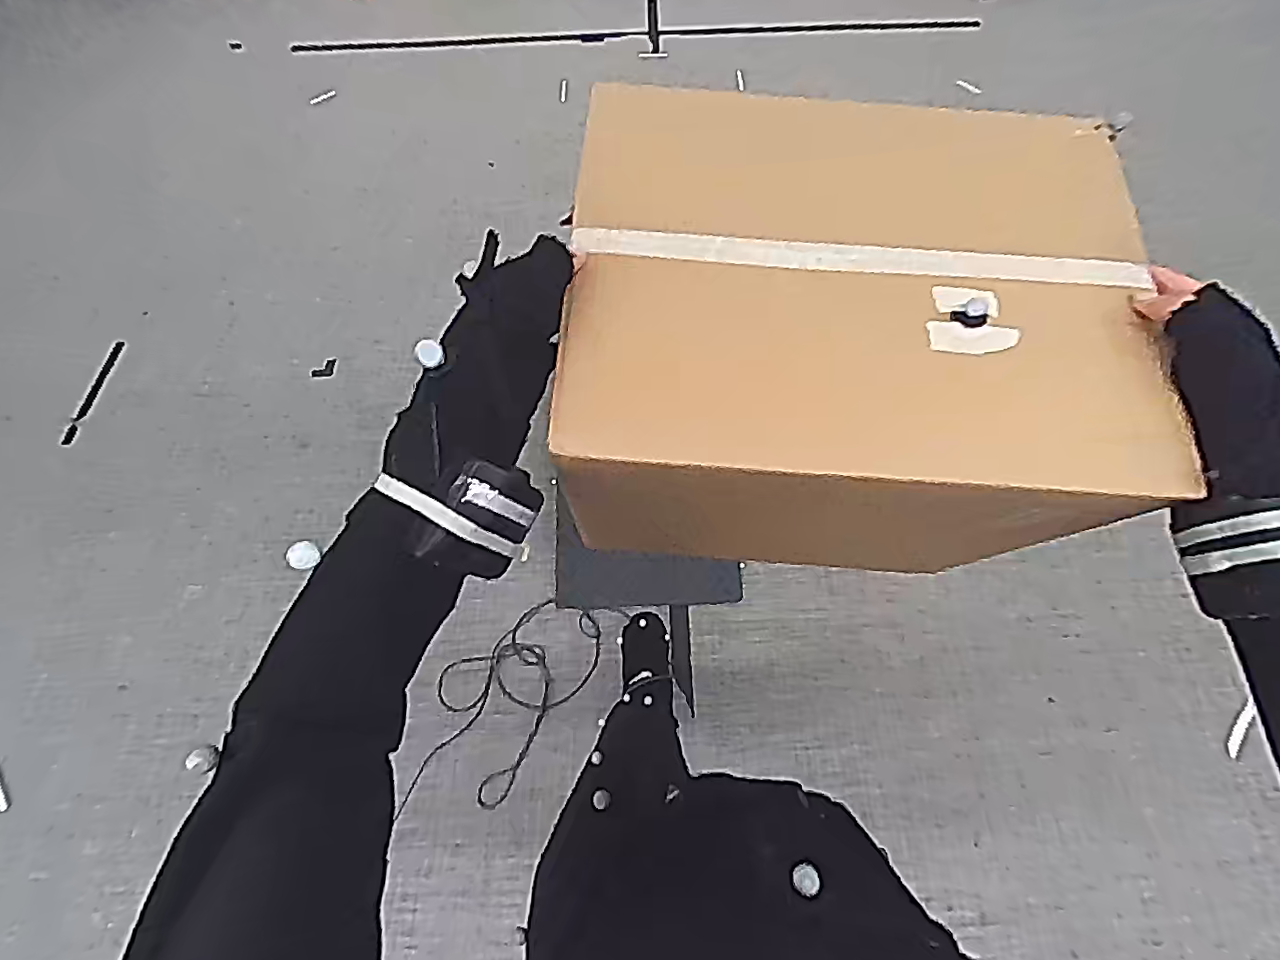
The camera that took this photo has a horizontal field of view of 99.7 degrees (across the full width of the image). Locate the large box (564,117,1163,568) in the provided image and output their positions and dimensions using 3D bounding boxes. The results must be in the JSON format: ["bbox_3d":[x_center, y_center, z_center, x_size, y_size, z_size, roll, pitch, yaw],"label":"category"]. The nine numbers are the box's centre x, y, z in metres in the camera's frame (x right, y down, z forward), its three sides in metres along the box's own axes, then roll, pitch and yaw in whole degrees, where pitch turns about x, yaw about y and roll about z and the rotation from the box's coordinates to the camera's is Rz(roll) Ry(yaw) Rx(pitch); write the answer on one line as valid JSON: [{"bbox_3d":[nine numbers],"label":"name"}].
[{"bbox_3d":[0.148,-0.097,0.539,0.408,0.320,0.320,4,72,-1],"label":"large box"}]

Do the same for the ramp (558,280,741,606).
[{"bbox_3d":[0.009,-0.155,1.565,0.509,0.206,0.991,-3,64,-2],"label":"ramp"}]
